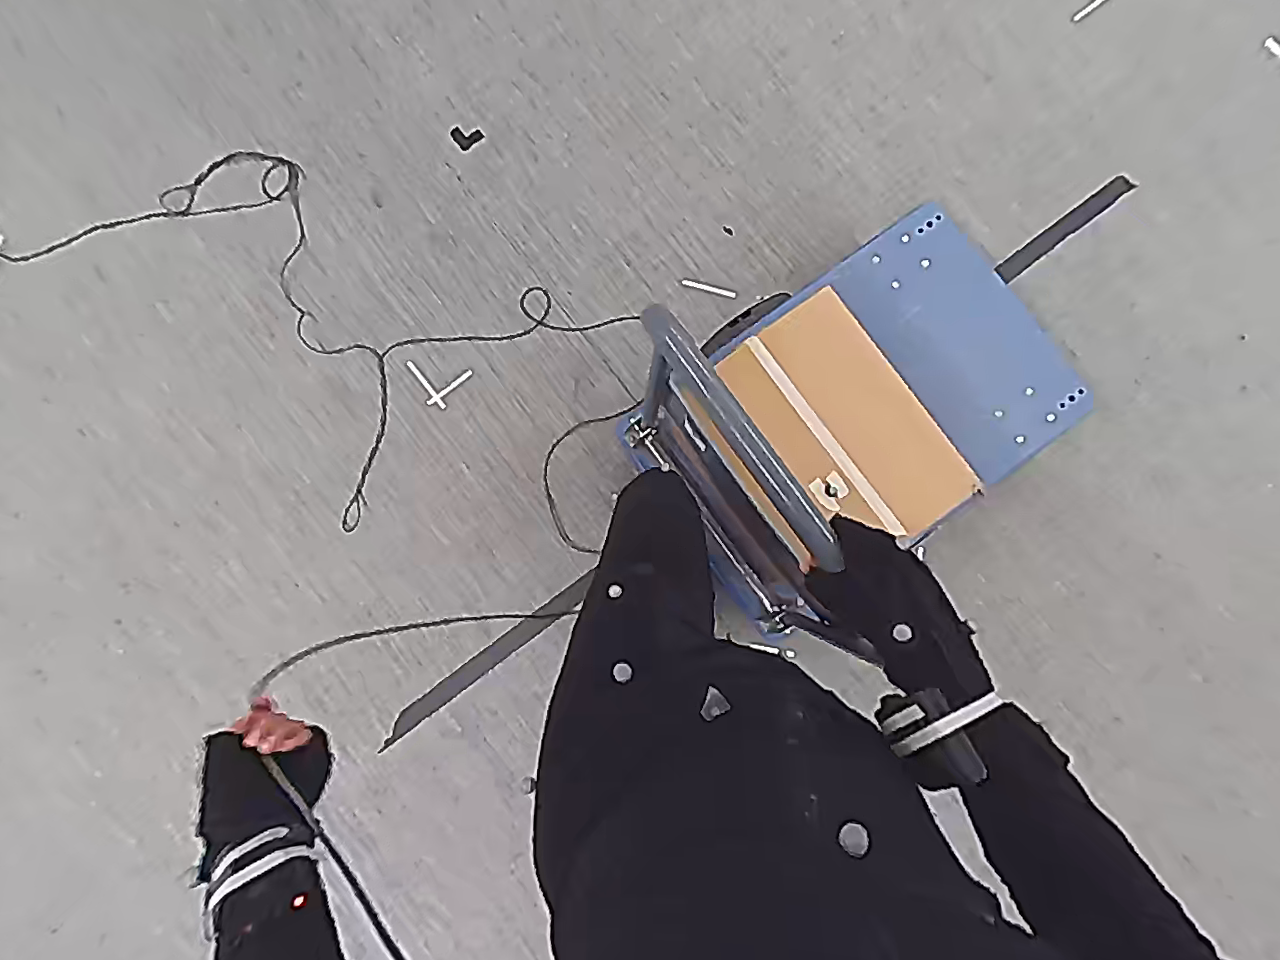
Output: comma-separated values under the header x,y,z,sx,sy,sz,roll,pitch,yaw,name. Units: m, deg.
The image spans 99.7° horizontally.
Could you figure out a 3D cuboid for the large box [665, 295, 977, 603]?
x,y,z,sx,sy,sz,roll,pitch,yaw,name
0.288,-0.044,0.996,0.320,0.320,0.408,-36,87,-1,large box
